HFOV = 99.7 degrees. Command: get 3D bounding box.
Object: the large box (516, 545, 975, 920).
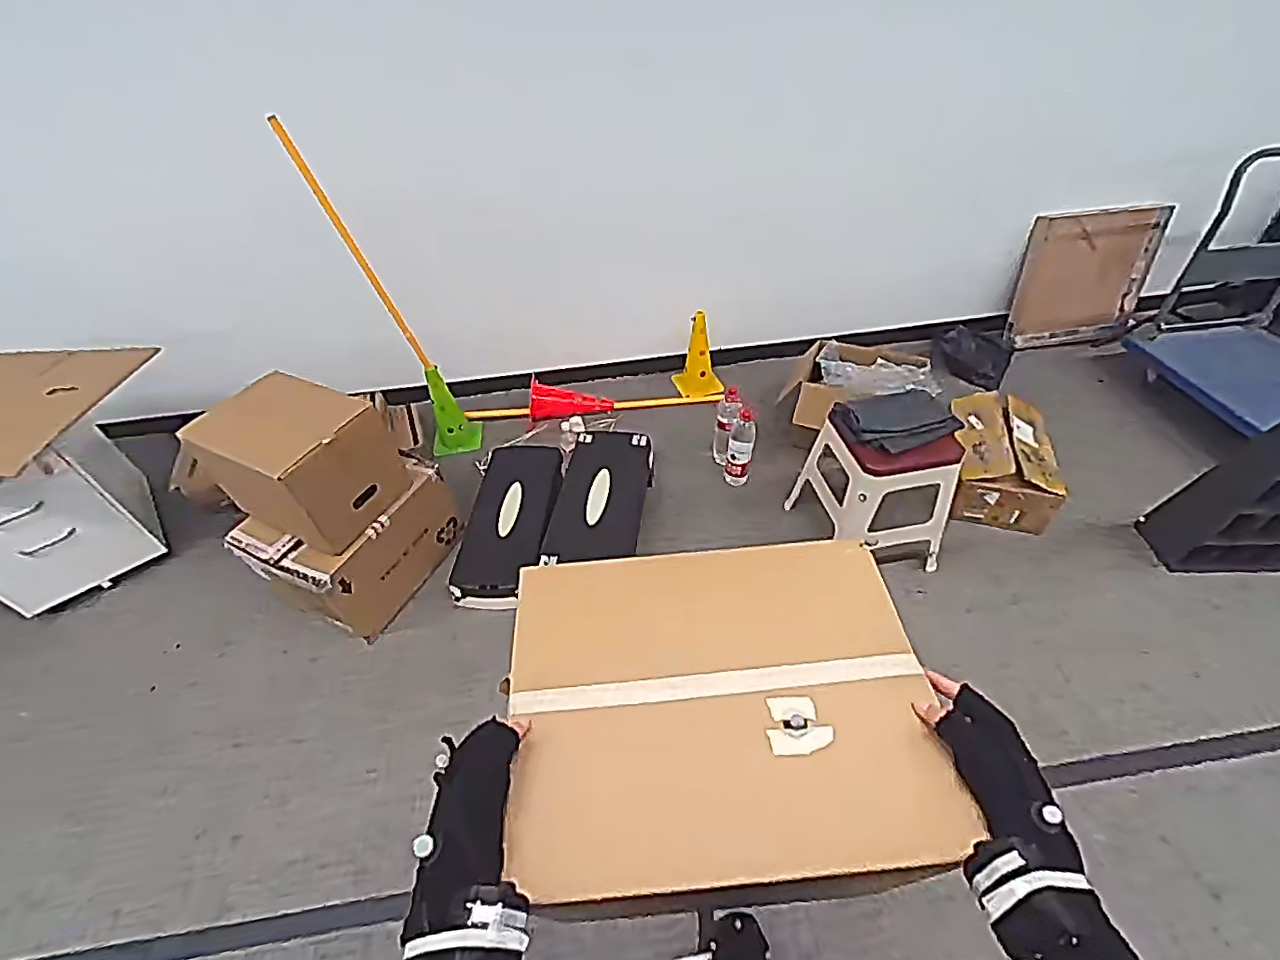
[{"bbox_3d":[0.083,0.310,0.662,0.408,0.320,0.320,-5,49,-2],"label":"large box"}]
